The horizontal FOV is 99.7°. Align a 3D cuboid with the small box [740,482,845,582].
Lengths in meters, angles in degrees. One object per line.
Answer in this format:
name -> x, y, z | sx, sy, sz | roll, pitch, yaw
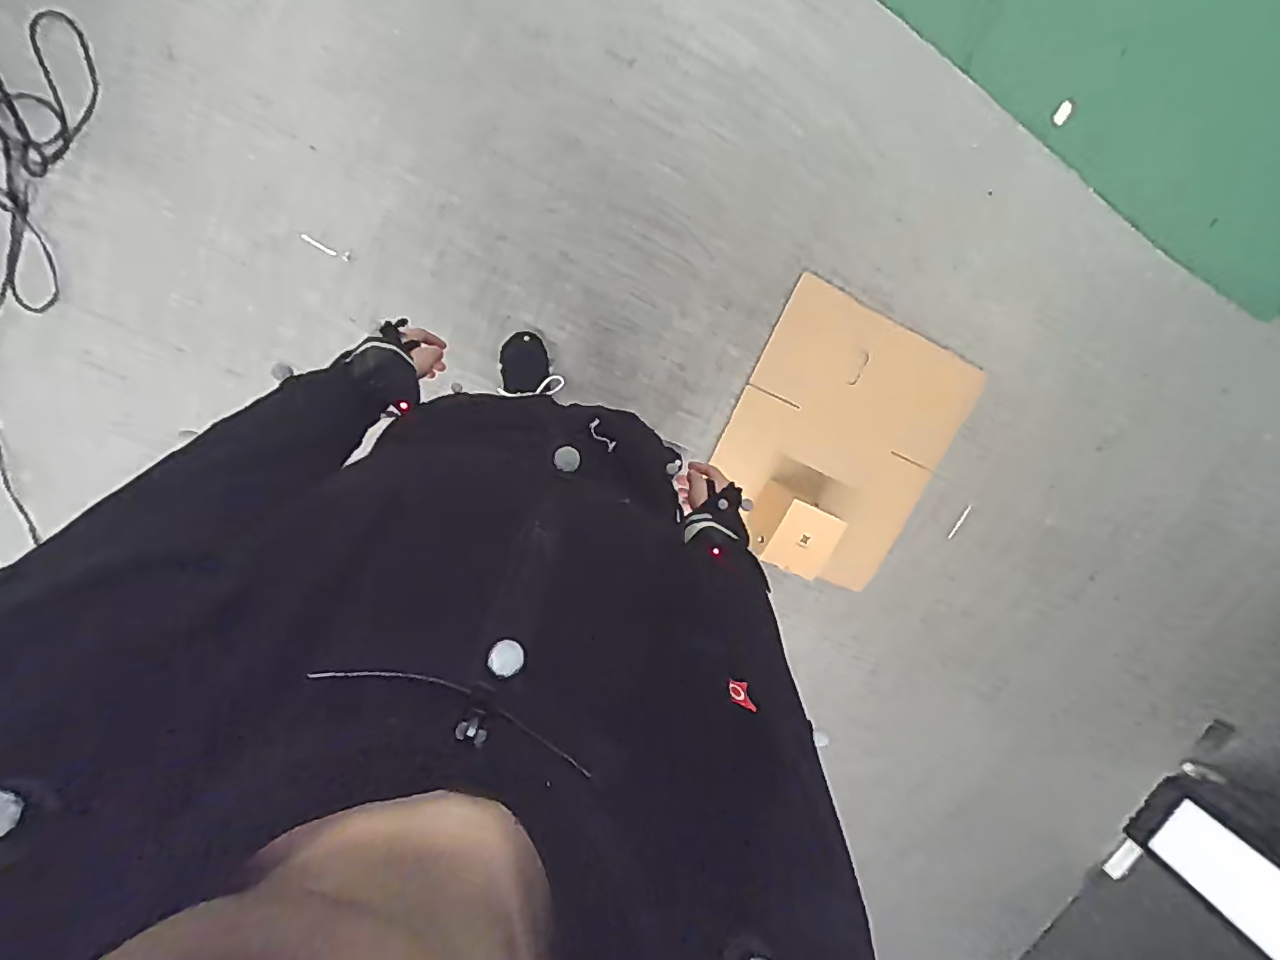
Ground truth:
small box -> 0.381, 0.126, 1.388 | 0.168, 0.176, 0.179 | 24, 103, -15
